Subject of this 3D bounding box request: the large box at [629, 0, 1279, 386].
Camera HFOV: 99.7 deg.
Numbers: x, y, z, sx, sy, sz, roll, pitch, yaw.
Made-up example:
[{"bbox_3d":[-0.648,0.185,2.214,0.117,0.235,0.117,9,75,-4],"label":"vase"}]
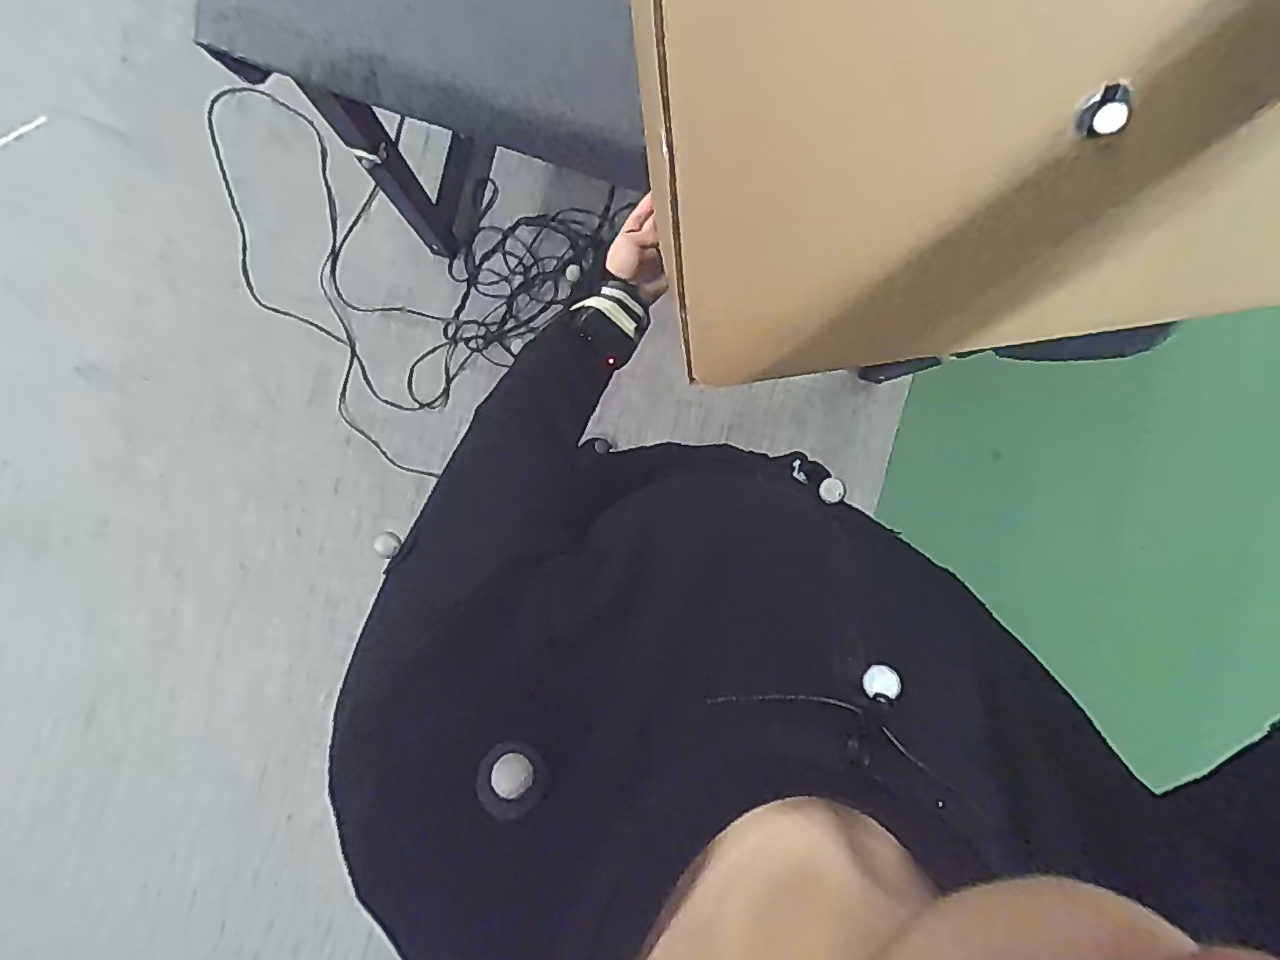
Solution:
[{"bbox_3d":[0.207,-0.306,0.359,0.408,0.320,0.320,-10,50,4],"label":"large box"}]
